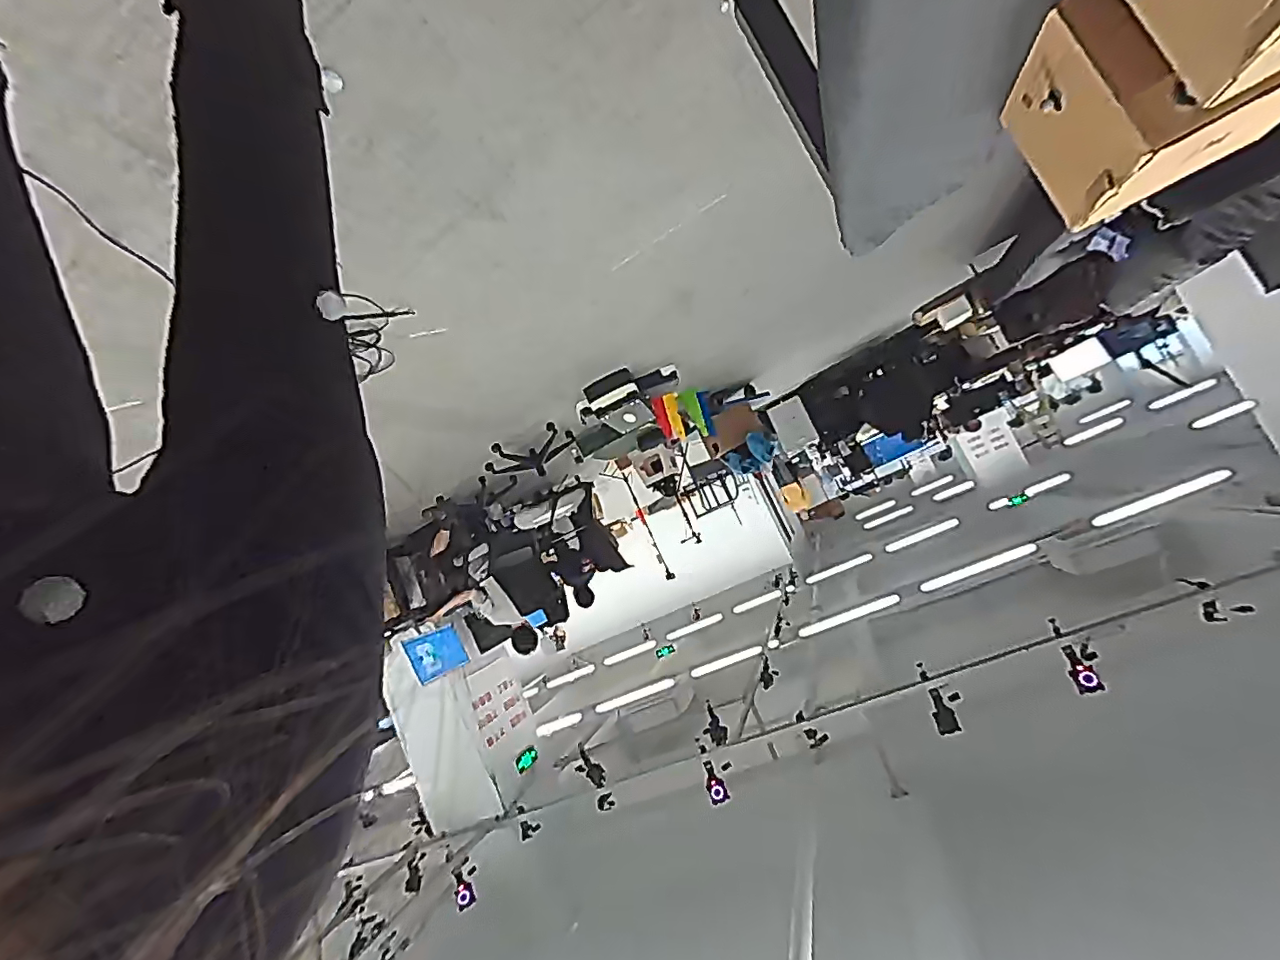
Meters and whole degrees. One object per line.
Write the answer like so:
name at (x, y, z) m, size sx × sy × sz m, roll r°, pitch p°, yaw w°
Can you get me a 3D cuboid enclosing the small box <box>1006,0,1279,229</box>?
small box at (0.500, -0.389, 0.514) m, size 0.179 × 0.176 × 0.168 m, roll -26°, pitch 173°, yaw 19°
